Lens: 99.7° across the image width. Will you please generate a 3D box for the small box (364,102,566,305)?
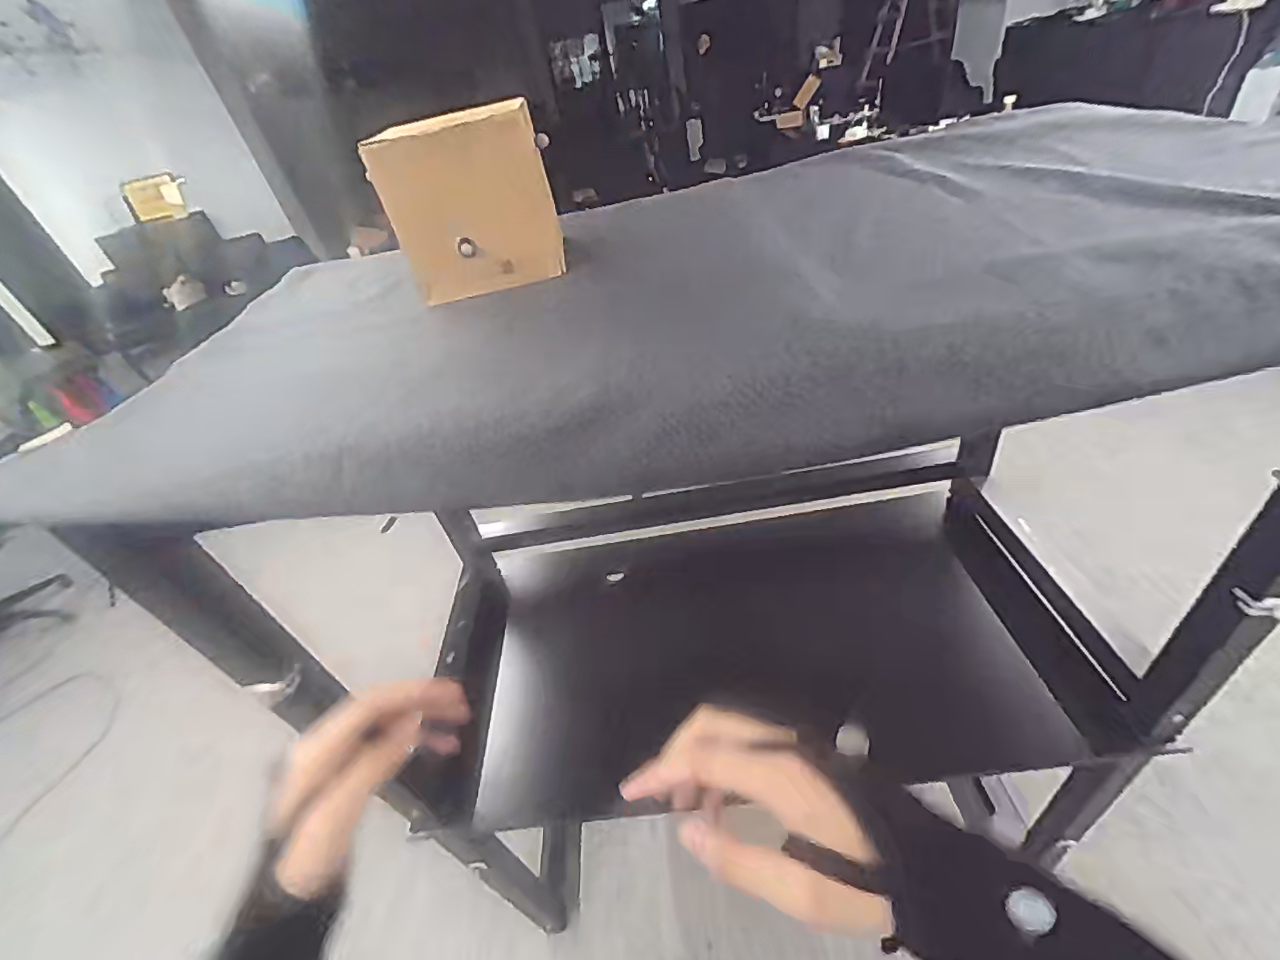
[{"bbox_3d":[-0.189,-0.328,0.642,0.168,0.176,0.179,-13,39,0],"label":"small box"}]
